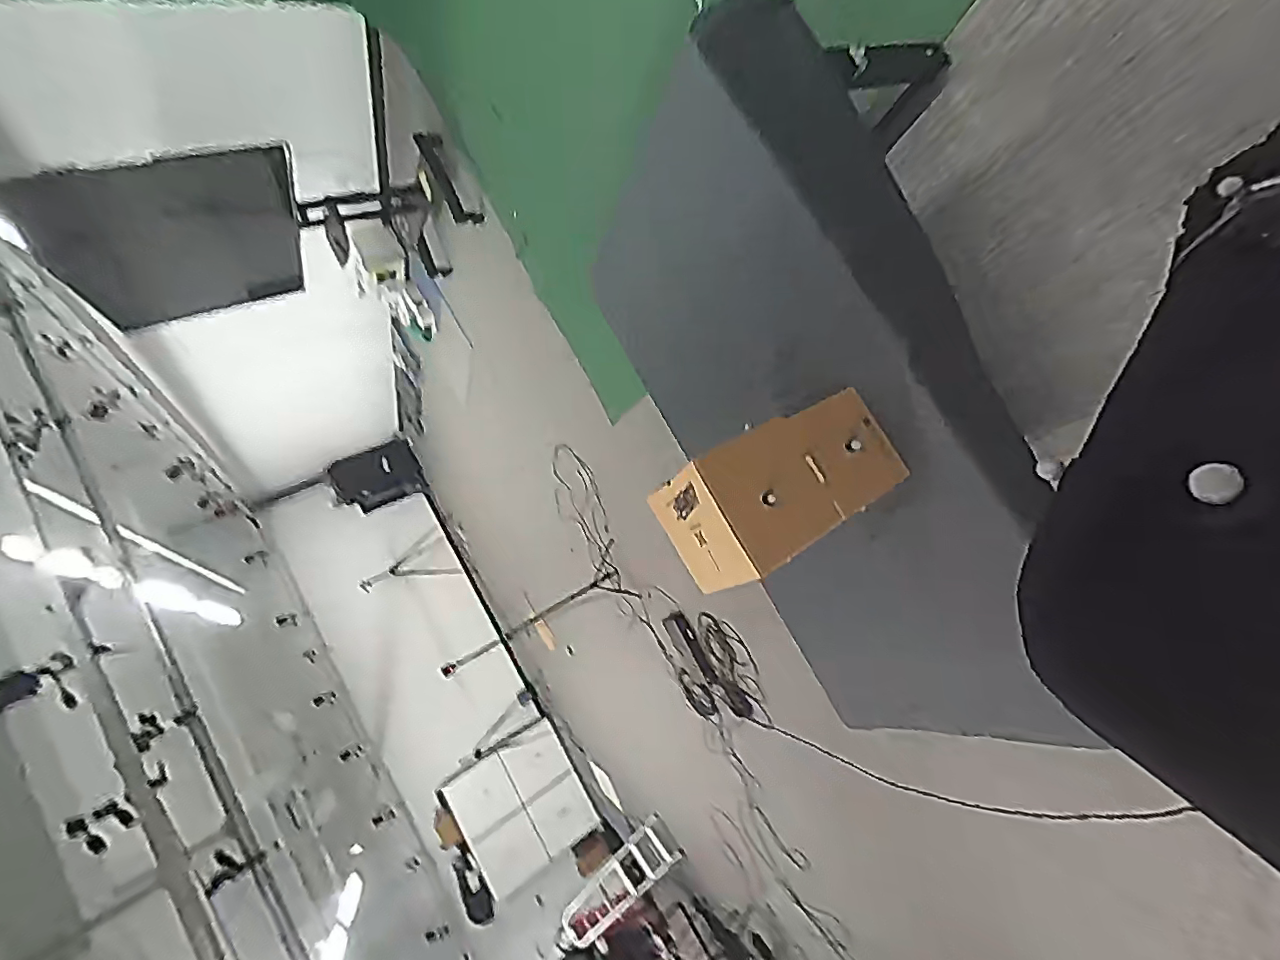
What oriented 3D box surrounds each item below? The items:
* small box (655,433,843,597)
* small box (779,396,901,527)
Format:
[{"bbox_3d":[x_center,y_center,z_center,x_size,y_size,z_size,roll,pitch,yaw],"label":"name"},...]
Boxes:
[{"bbox_3d":[0.158,0.048,0.805,0.179,0.176,0.168,59,153,6],"label":"small box"},{"bbox_3d":[0.291,-0.013,0.883,0.168,0.176,0.179,59,152,8],"label":"small box"}]
